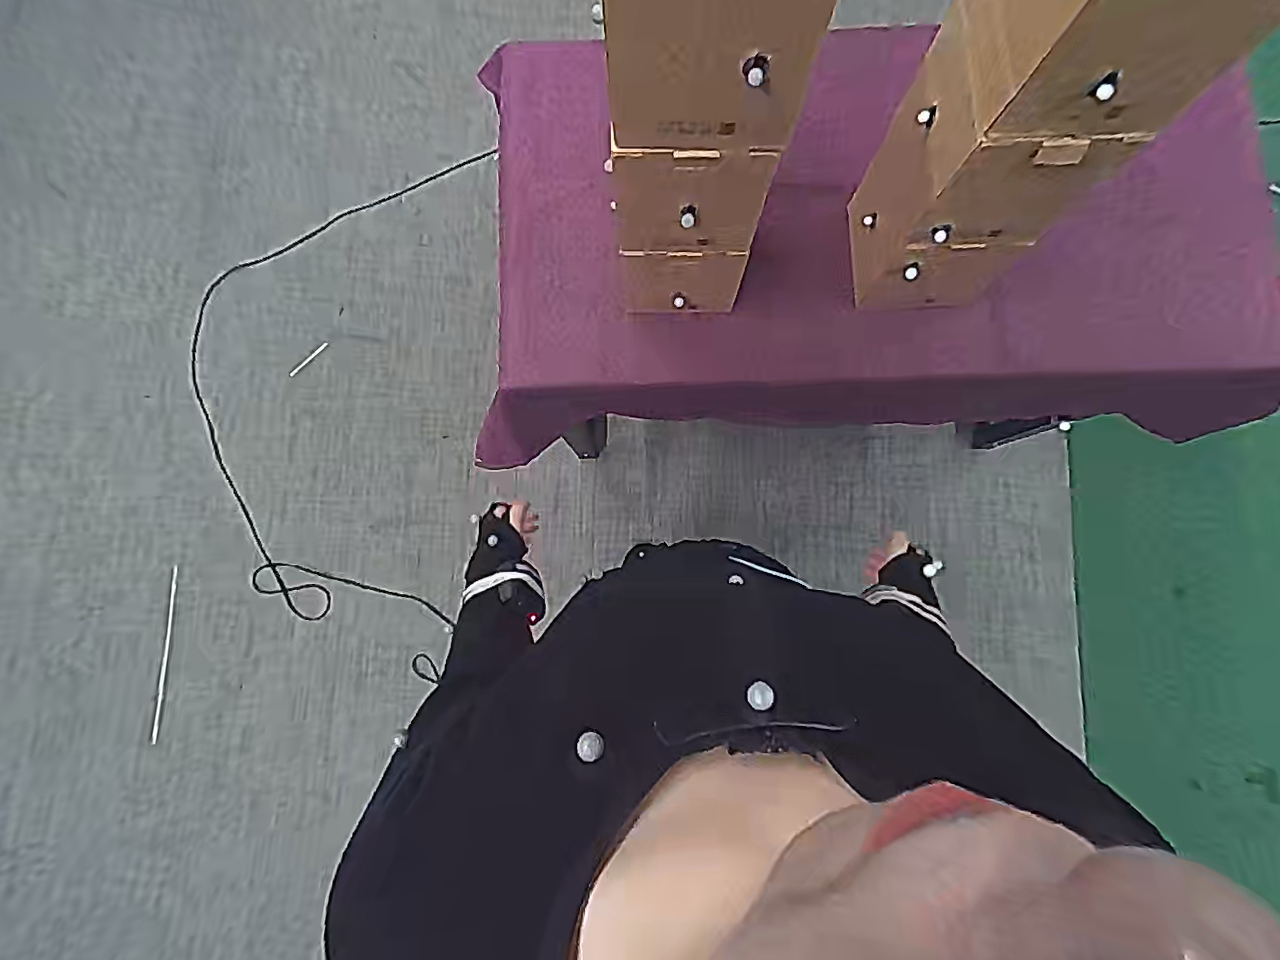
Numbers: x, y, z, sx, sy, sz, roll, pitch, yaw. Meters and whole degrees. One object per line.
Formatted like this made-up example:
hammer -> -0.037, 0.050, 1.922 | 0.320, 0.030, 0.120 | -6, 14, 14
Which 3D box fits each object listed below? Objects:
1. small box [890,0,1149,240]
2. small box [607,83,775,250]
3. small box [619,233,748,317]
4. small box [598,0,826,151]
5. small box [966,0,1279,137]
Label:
small box -> 0.400, -0.389, 0.603 | 0.168, 0.176, 0.179 | -1, 80, 2
small box -> 0.053, -0.381, 0.610 | 0.168, 0.176, 0.179 | 0, 82, 1
small box -> 0.057, -0.352, 0.772 | 0.168, 0.176, 0.179 | 0, 82, 2
small box -> 0.059, -0.409, 0.449 | 0.168, 0.176, 0.179 | 3, 81, 1
small box -> 0.398, -0.423, 0.443 | 0.168, 0.176, 0.179 | -2, 82, 1
